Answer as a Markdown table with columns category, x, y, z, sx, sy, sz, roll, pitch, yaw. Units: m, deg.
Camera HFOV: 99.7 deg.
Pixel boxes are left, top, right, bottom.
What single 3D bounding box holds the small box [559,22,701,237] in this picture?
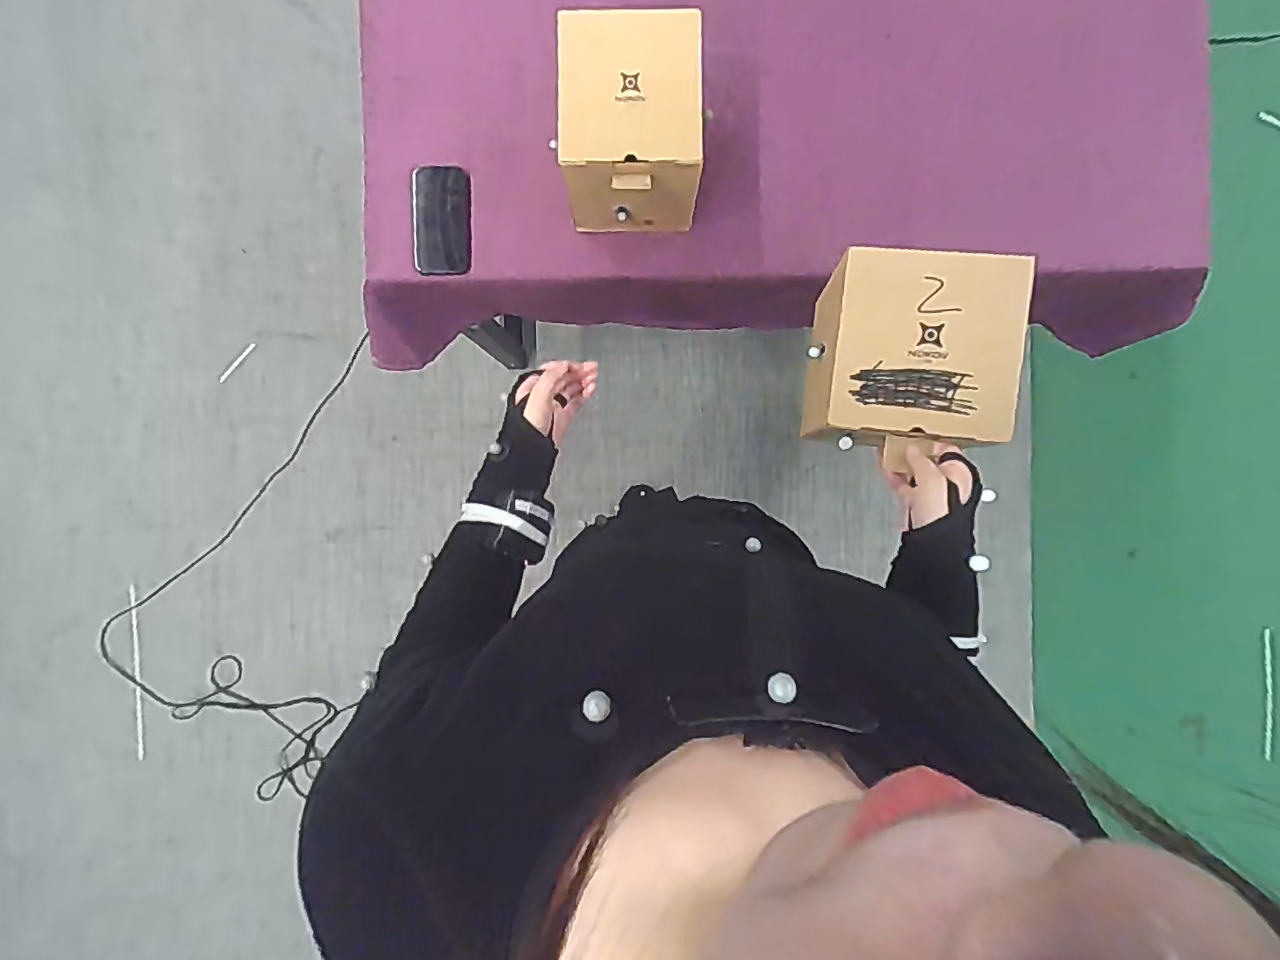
| category | x | y | z | sx | sy | sz | roll | pitch | yaw |
| --- | --- | --- | --- | --- | --- | --- | --- | --- | --- |
| small box | -0.013 | -0.441 | 0.705 | 0.168 | 0.176 | 0.179 | 0 | 91 | 0 |
